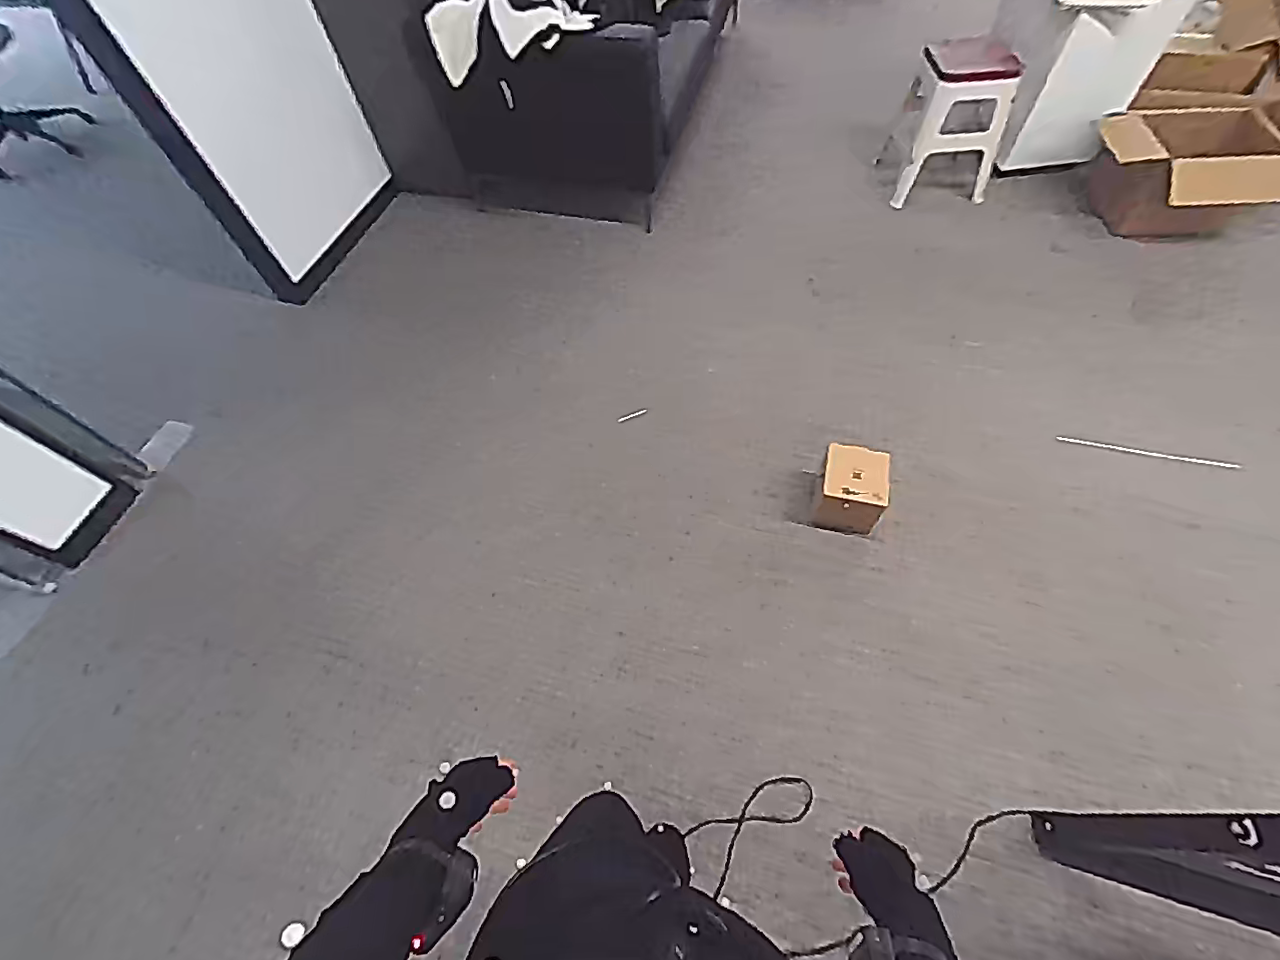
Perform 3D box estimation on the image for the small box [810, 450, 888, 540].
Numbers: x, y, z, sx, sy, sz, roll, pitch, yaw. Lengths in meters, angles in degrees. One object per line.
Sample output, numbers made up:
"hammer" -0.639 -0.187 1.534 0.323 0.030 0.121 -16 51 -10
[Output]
"small box" 0.589 0.044 1.532 0.168 0.176 0.179 12 59 11
